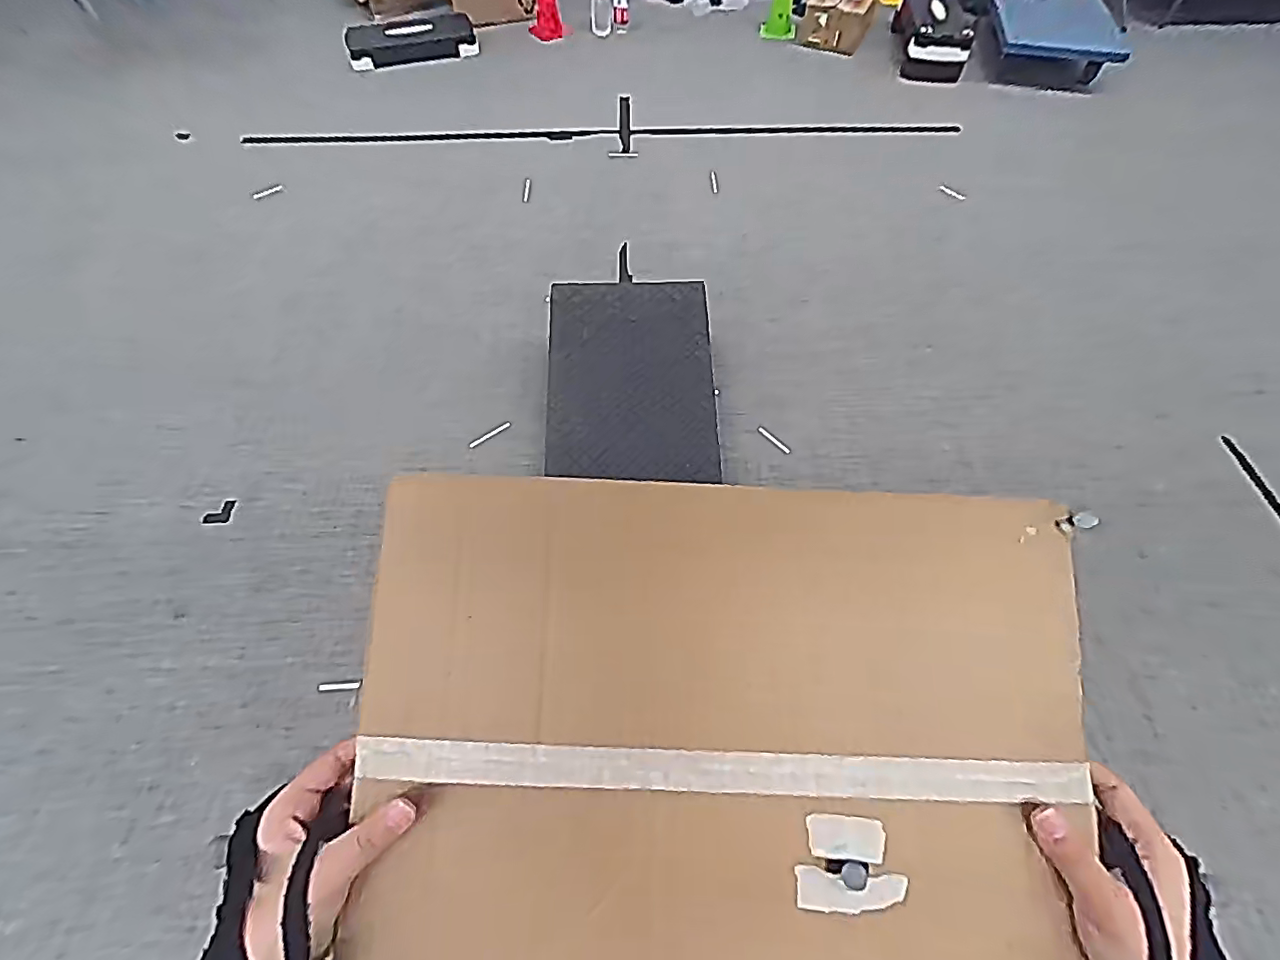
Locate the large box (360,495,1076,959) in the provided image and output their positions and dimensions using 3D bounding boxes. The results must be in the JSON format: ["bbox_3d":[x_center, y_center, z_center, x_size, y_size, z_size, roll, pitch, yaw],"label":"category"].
[{"bbox_3d":[0.042,0.189,0.460,0.408,0.320,0.320,2,82,-1],"label":"large box"}]
